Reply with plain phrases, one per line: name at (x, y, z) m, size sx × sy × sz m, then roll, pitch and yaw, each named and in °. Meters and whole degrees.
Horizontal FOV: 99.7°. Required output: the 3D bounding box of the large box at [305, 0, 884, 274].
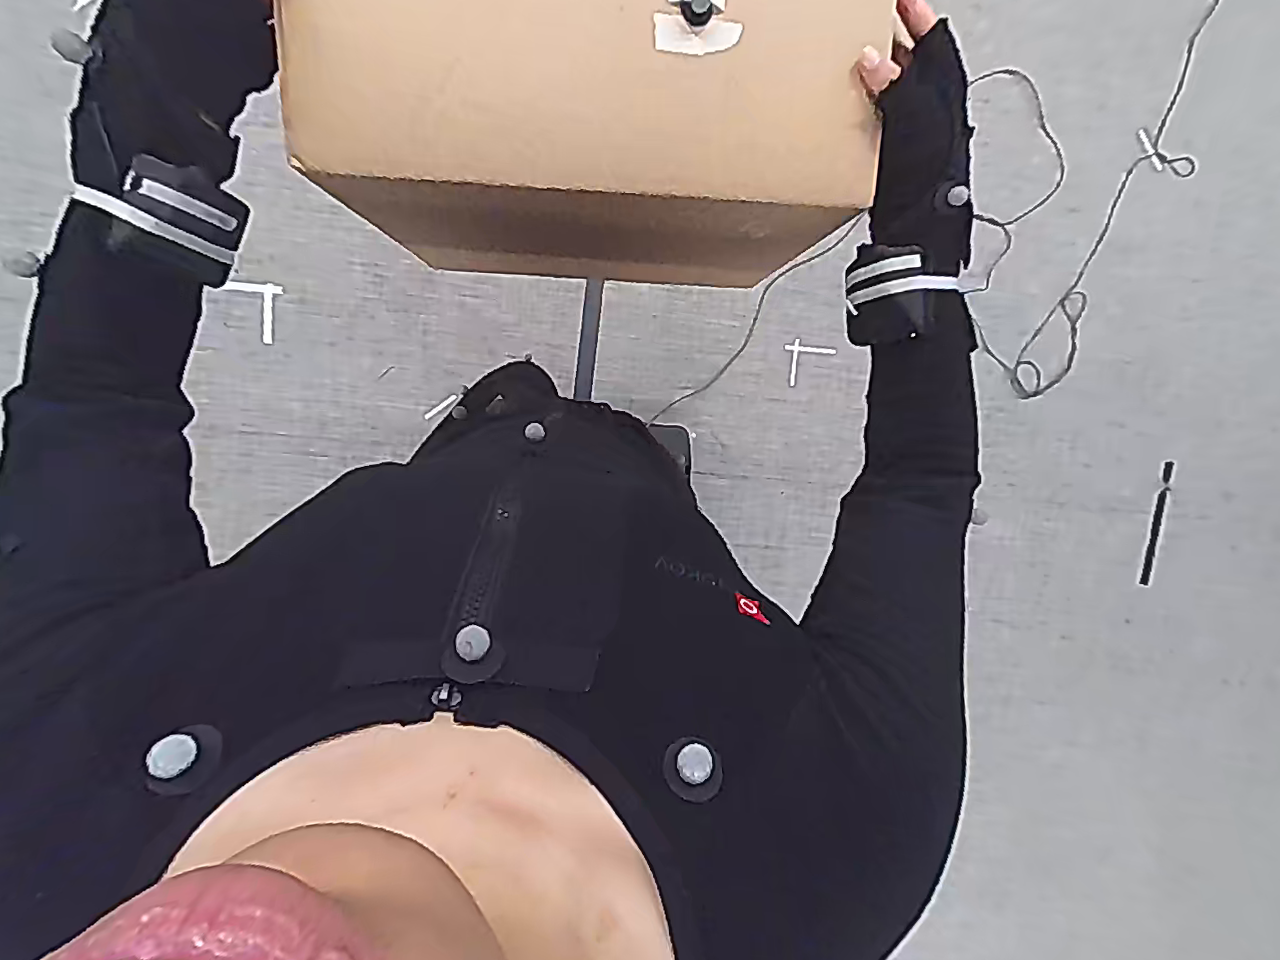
large box at (-0.036, -0.391, 0.510) m, size 0.408 × 0.320 × 0.320 m, roll 1°, pitch 100°, yaw -5°
